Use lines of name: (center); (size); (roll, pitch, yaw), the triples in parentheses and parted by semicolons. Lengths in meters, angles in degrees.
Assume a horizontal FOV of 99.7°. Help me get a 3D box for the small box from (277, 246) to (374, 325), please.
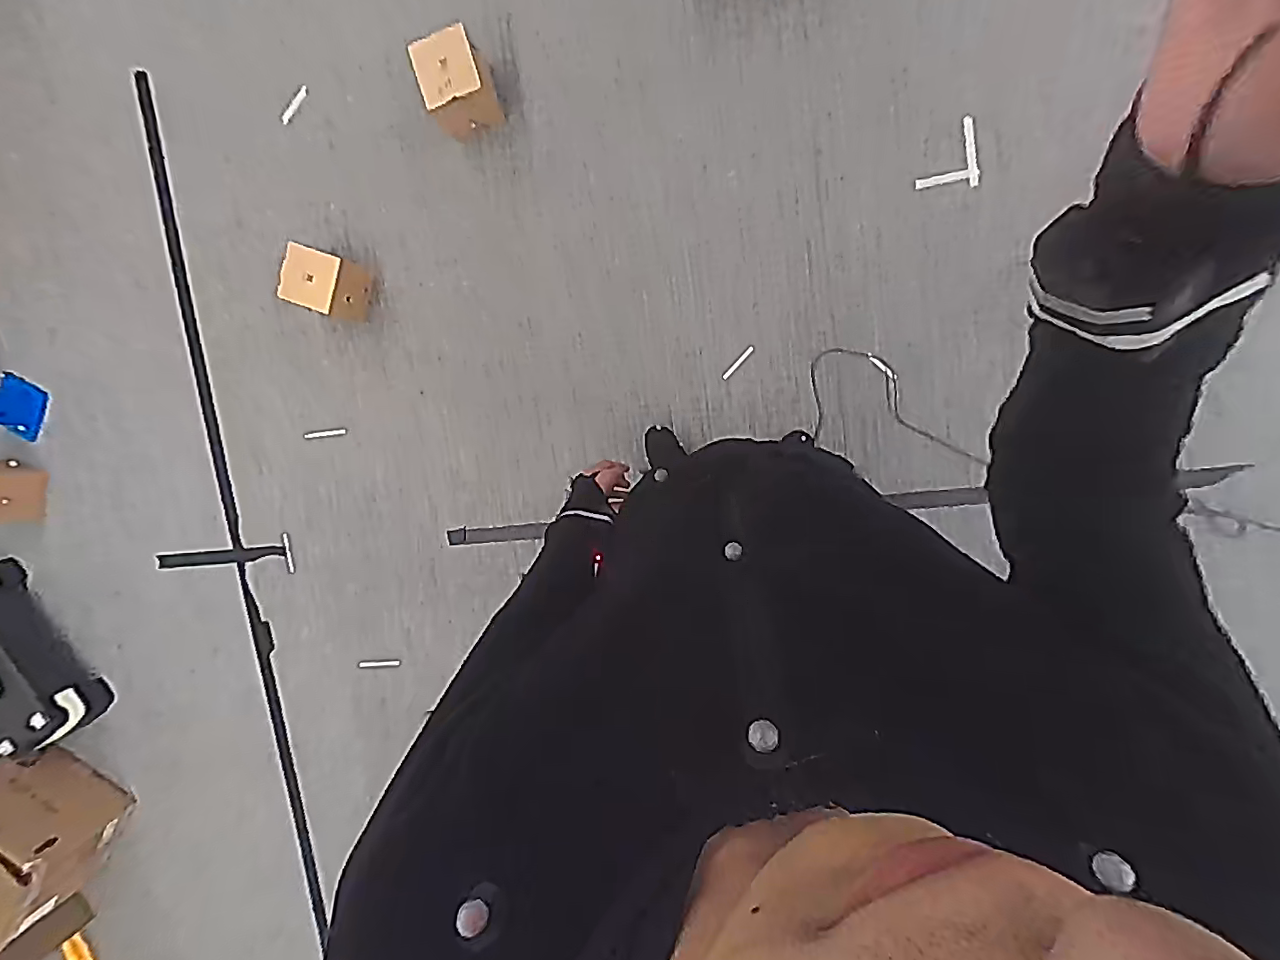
small box: (-0.946, -0.581, 1.639); (0.179, 0.176, 0.168); (19, 99, 6)

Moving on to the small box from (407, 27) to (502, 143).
small box: (-0.512, -1.097, 1.515); (0.168, 0.176, 0.179); (-17, 94, 10)
